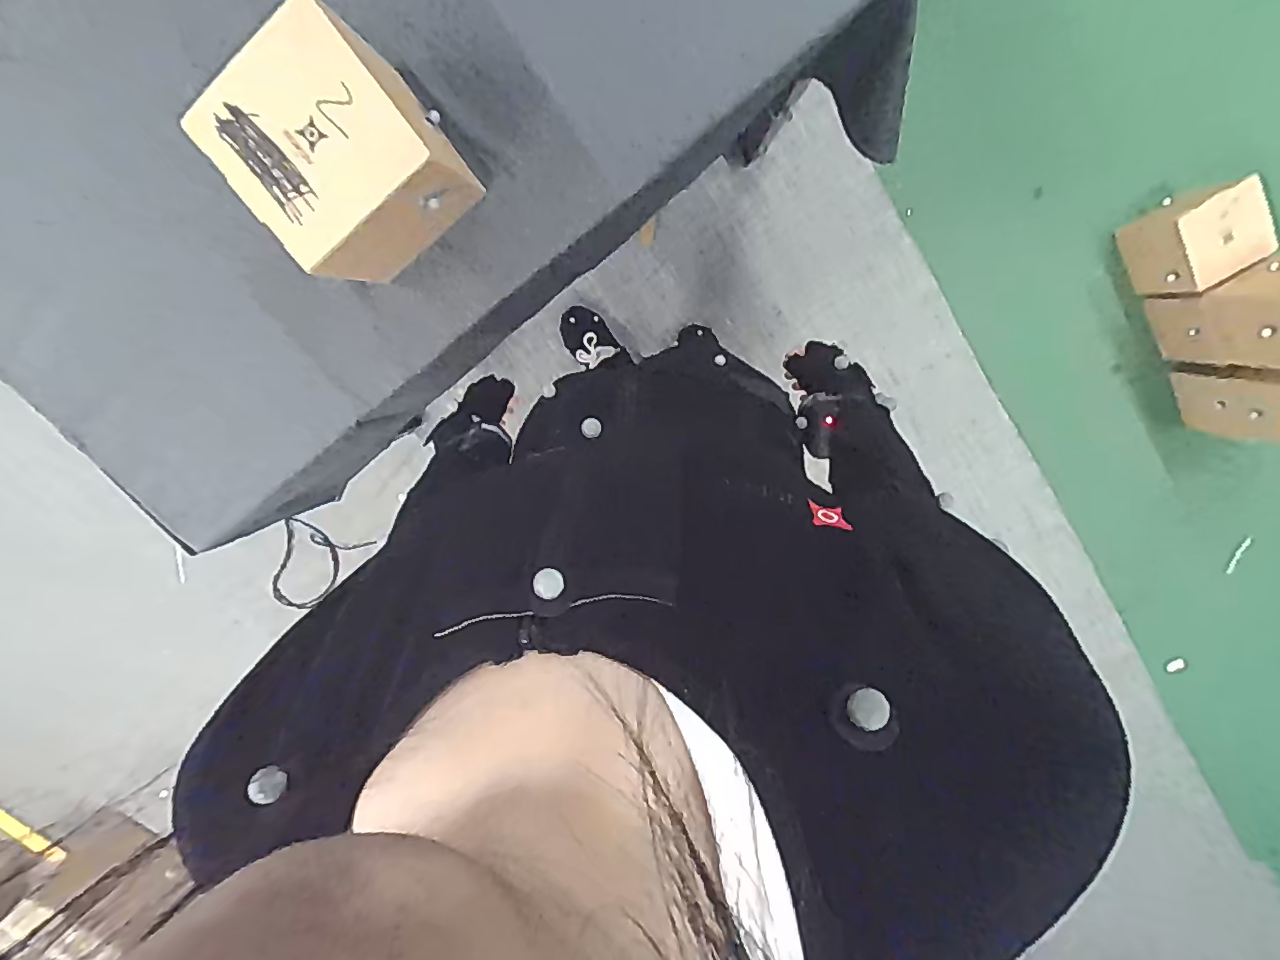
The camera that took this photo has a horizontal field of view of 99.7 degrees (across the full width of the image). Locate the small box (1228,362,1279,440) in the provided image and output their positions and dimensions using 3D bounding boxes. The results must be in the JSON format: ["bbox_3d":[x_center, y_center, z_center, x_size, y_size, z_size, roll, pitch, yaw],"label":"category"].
[{"bbox_3d":[1.442,-0.189,1.155,0.168,0.176,0.179,-34,104,12],"label":"small box"}]

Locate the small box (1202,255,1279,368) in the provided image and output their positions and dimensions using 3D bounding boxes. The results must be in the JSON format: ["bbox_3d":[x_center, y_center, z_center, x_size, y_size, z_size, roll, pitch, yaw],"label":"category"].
[{"bbox_3d":[1.332,-0.351,1.110,0.168,0.176,0.179,-29,103,11],"label":"small box"}]
